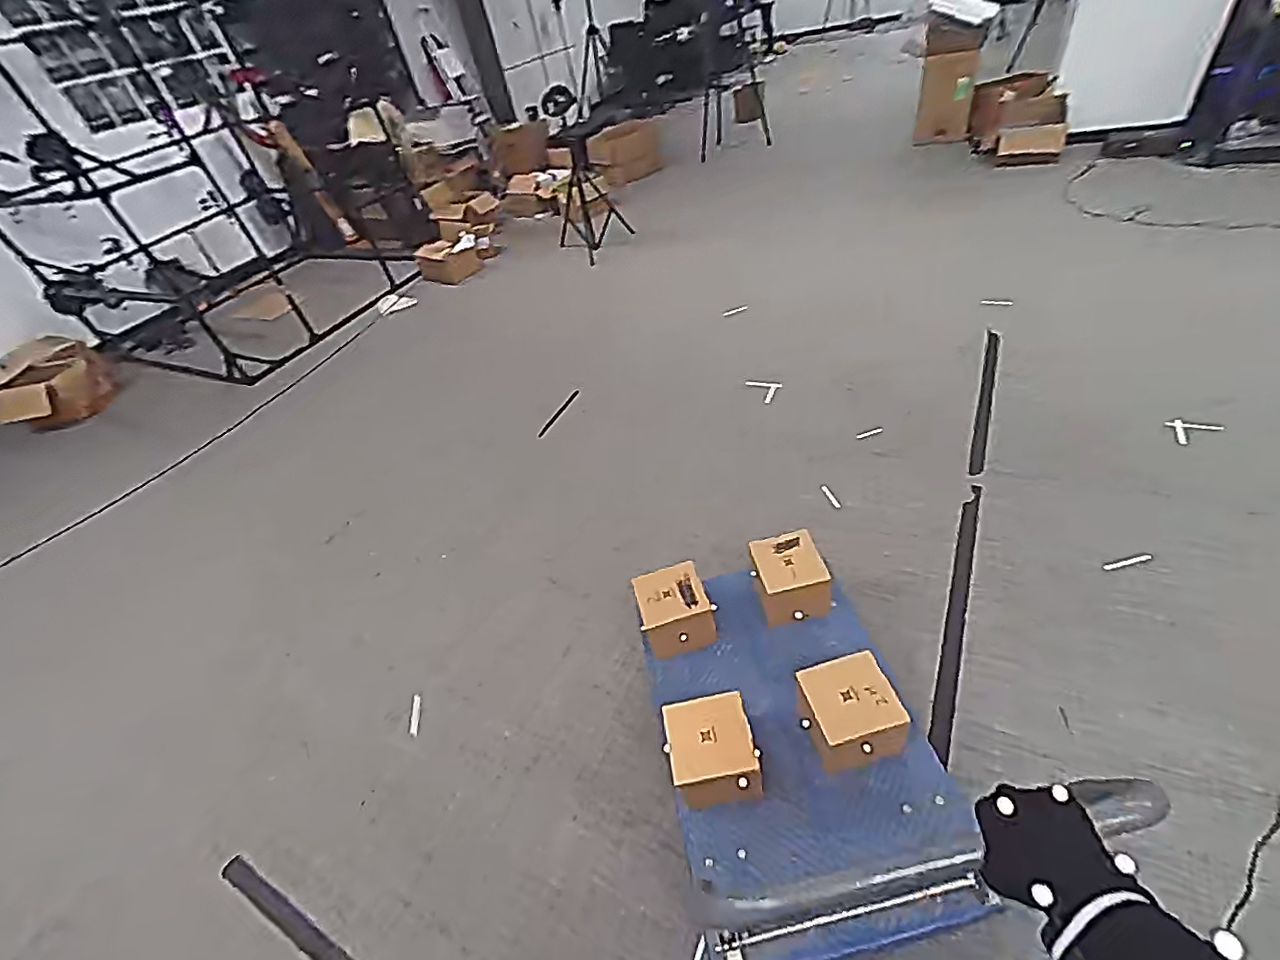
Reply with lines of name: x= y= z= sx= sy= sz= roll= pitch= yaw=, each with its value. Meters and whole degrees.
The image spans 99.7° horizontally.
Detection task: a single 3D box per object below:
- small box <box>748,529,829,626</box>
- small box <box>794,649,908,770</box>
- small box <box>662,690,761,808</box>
small box: x=0.397 y=0.265 z=1.467 sx=0.168 sy=0.176 sz=0.179 roll=-14 pitch=43 yaw=1
small box: x=0.455 y=0.508 z=1.188 sx=0.179 sy=0.176 sz=0.168 roll=-17 pitch=42 yaw=-2
small box: x=0.158 y=0.592 z=1.184 sx=0.179 sy=0.176 sz=0.168 roll=-12 pitch=42 yaw=0
